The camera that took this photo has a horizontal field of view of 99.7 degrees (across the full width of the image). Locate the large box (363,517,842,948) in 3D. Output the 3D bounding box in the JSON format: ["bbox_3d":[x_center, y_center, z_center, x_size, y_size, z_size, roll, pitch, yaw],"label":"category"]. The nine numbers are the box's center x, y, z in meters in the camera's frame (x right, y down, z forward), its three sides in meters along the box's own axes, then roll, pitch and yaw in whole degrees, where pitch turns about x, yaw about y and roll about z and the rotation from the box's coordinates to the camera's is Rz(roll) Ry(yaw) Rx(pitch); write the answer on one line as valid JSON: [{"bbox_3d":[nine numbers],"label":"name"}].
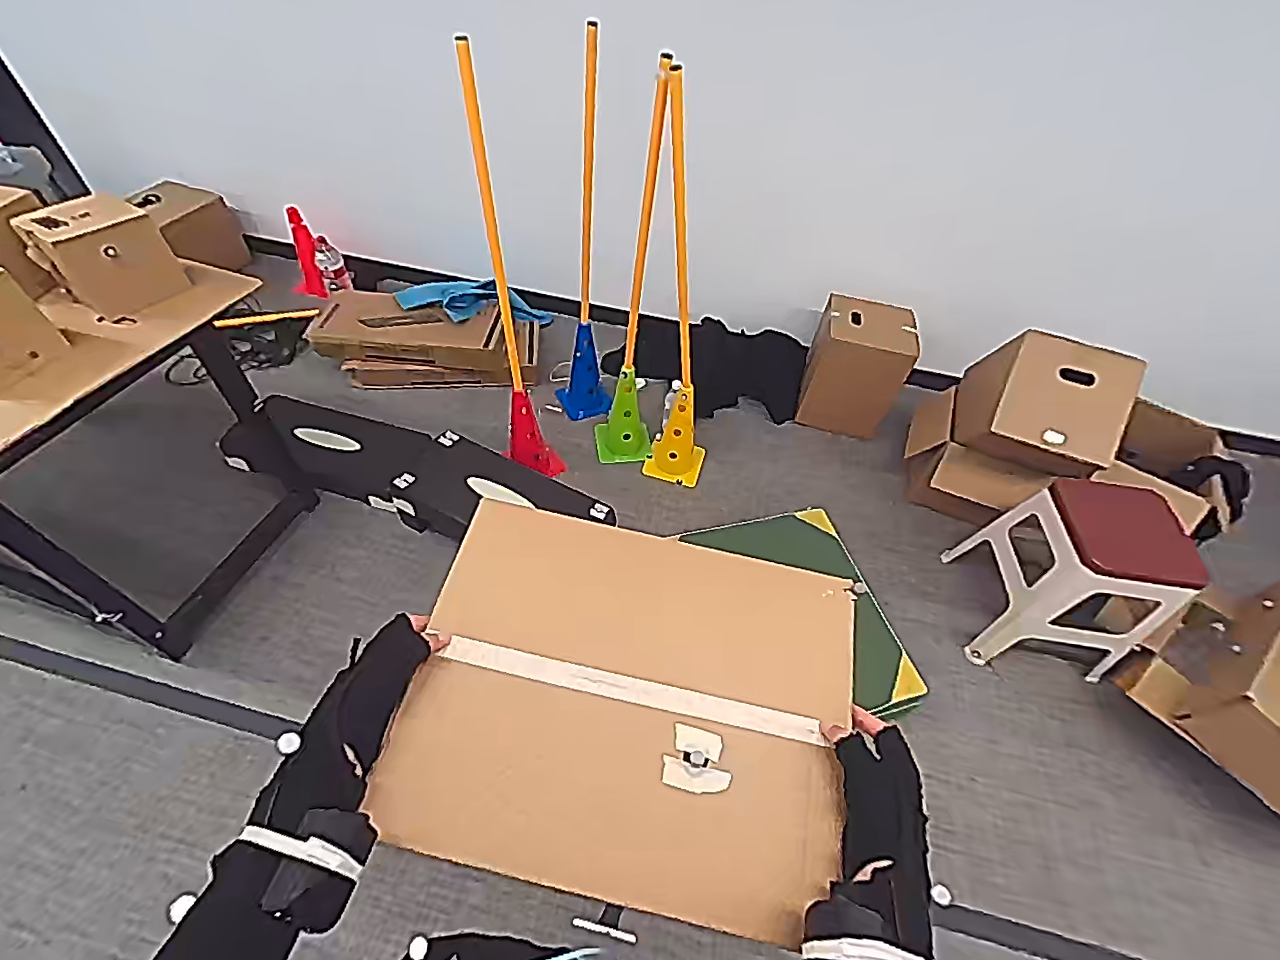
[{"bbox_3d":[-0.020,0.279,0.637,0.408,0.320,0.320,12,61,2],"label":"large box"}]
